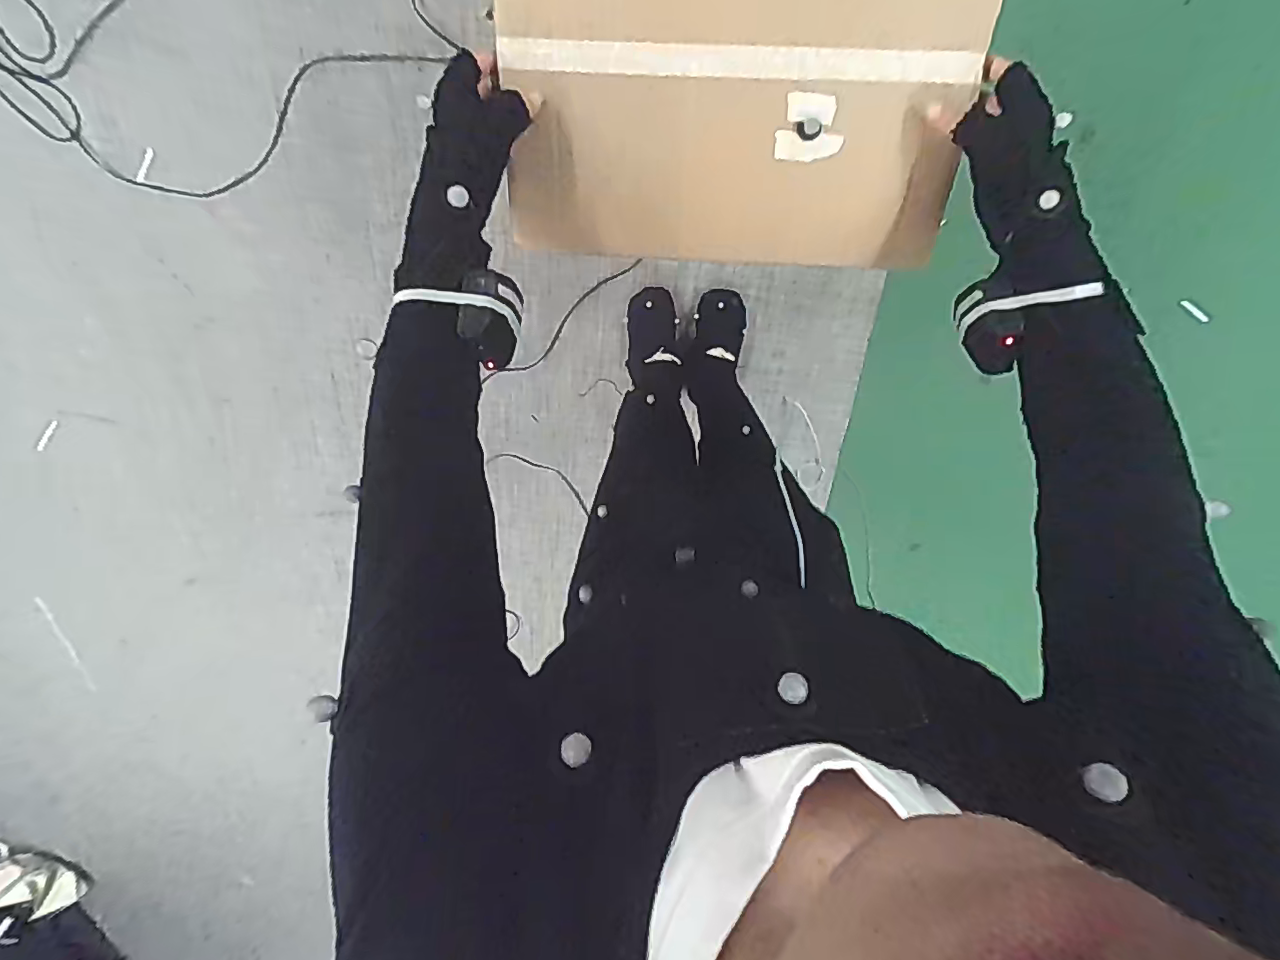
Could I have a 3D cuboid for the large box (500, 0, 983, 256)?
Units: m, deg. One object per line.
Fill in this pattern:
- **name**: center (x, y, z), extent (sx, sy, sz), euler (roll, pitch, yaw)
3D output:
- **large box**: center (0.084, -0.433, 0.594), extent (0.408, 0.320, 0.320), euler (3, 120, 1)
